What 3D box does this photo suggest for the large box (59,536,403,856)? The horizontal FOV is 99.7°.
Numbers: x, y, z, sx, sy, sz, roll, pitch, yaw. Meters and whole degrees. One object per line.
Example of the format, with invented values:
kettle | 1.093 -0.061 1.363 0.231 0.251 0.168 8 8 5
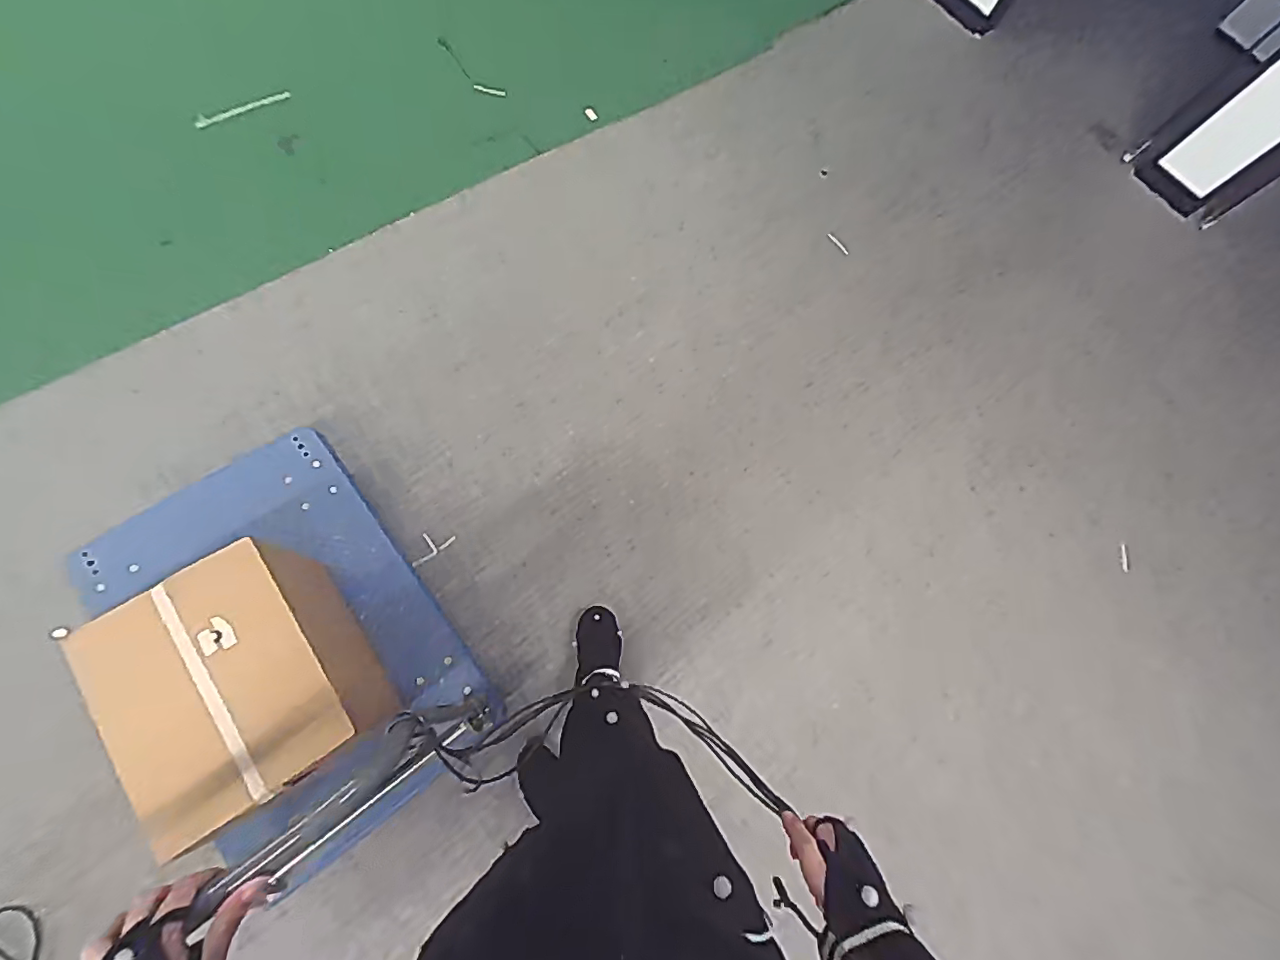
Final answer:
large box | -0.723 0.376 1.021 0.320 0.320 0.408 -32 79 -17
